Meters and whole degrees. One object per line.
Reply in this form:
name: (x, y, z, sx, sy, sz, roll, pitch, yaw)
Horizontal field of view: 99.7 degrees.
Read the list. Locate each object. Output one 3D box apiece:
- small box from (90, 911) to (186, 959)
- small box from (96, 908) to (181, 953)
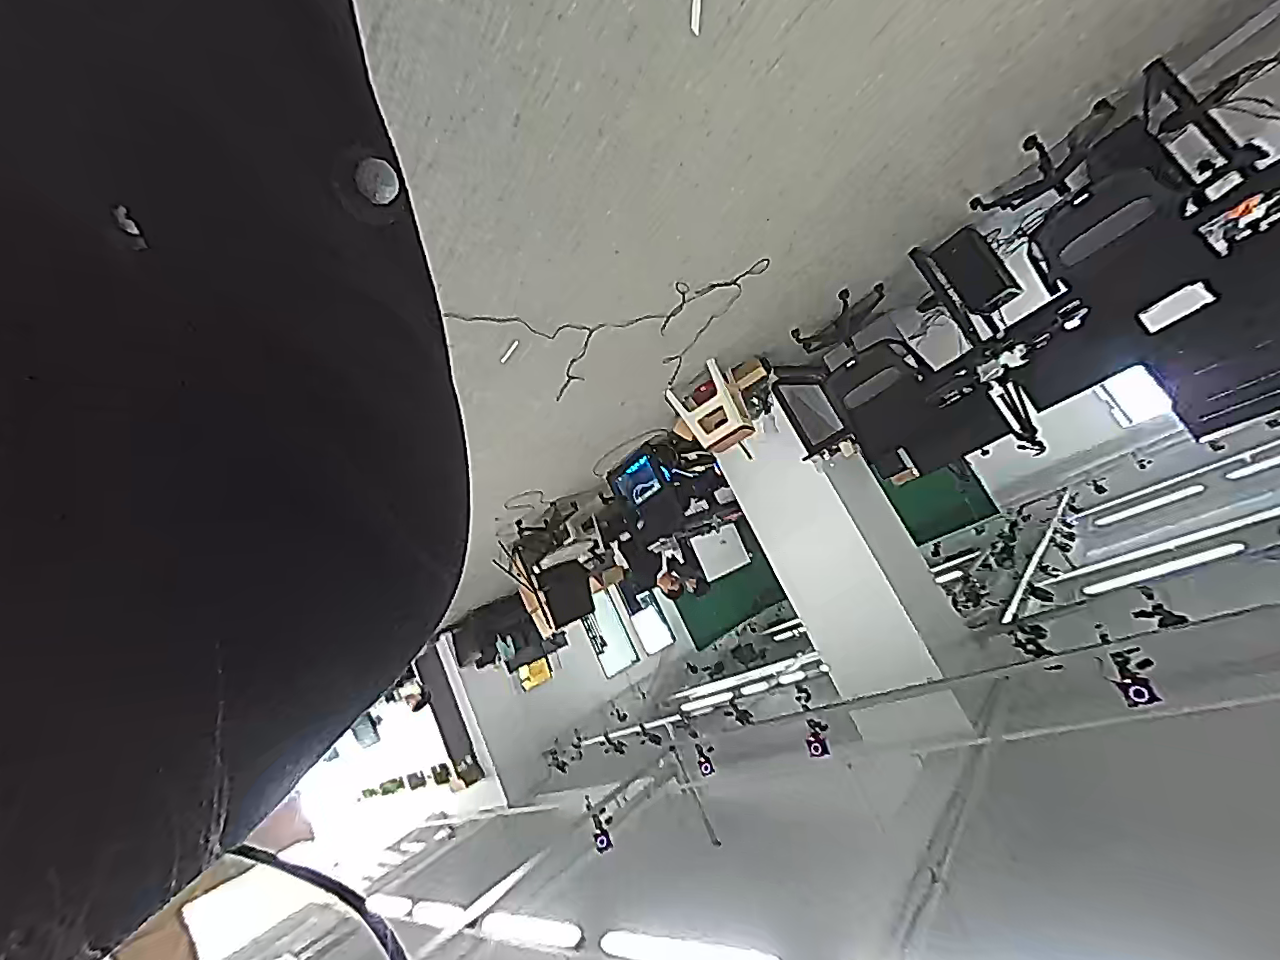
small box: (-1.339, 1.304, 1.447, 0.168, 0.176, 0.179, -13, 161, -49)
small box: (-1.468, 1.401, 1.589, 0.168, 0.176, 0.179, -13, 162, -49)
